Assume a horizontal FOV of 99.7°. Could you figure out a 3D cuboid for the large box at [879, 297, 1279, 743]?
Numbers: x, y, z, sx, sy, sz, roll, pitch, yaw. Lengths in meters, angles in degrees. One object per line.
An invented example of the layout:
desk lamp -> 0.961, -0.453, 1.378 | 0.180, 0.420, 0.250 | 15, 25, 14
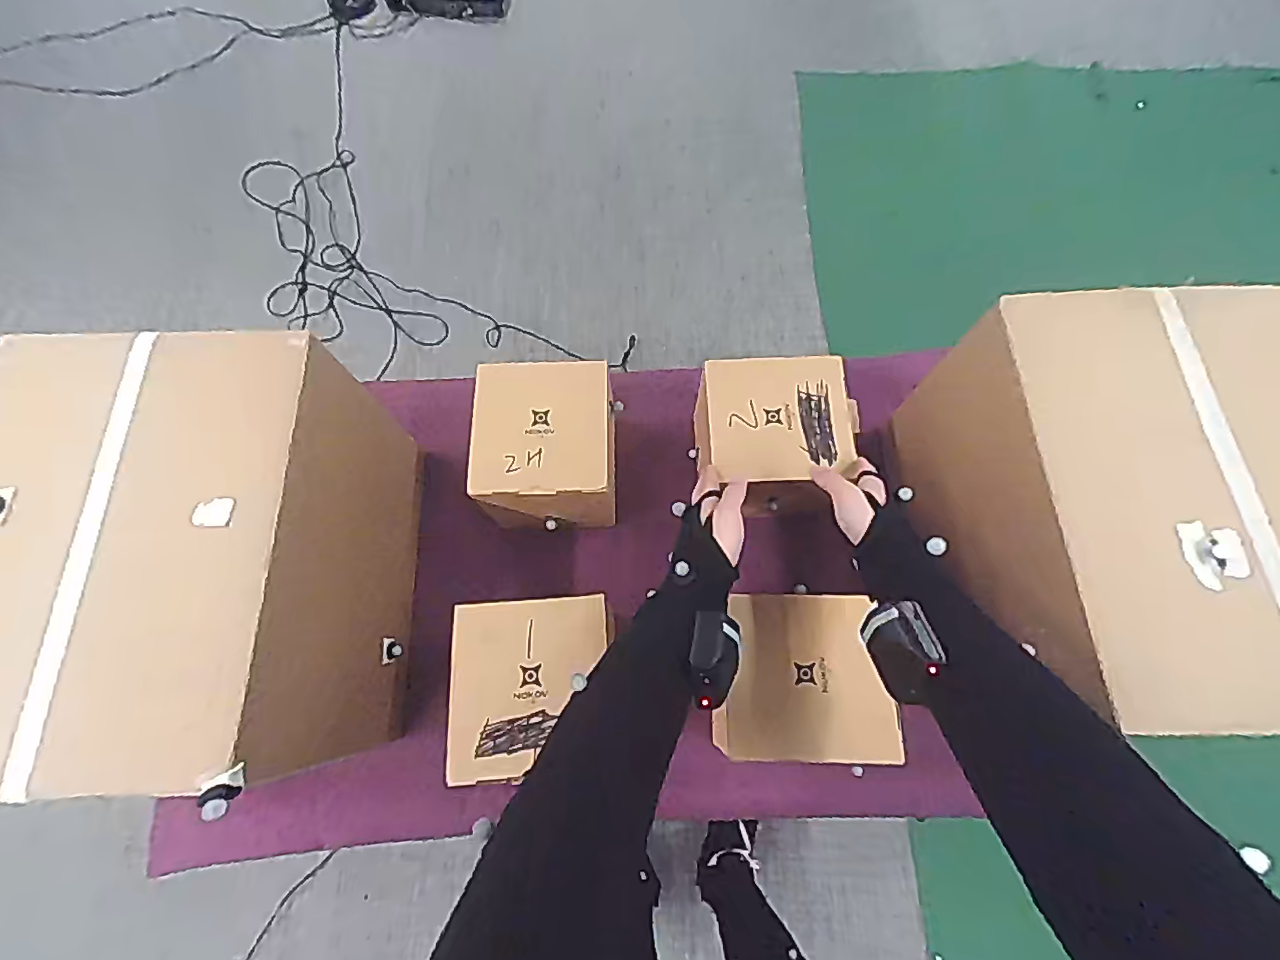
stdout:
large box -> 0.512, 0.055, 0.614 | 0.320, 0.320, 0.408 | -1, 71, 2
